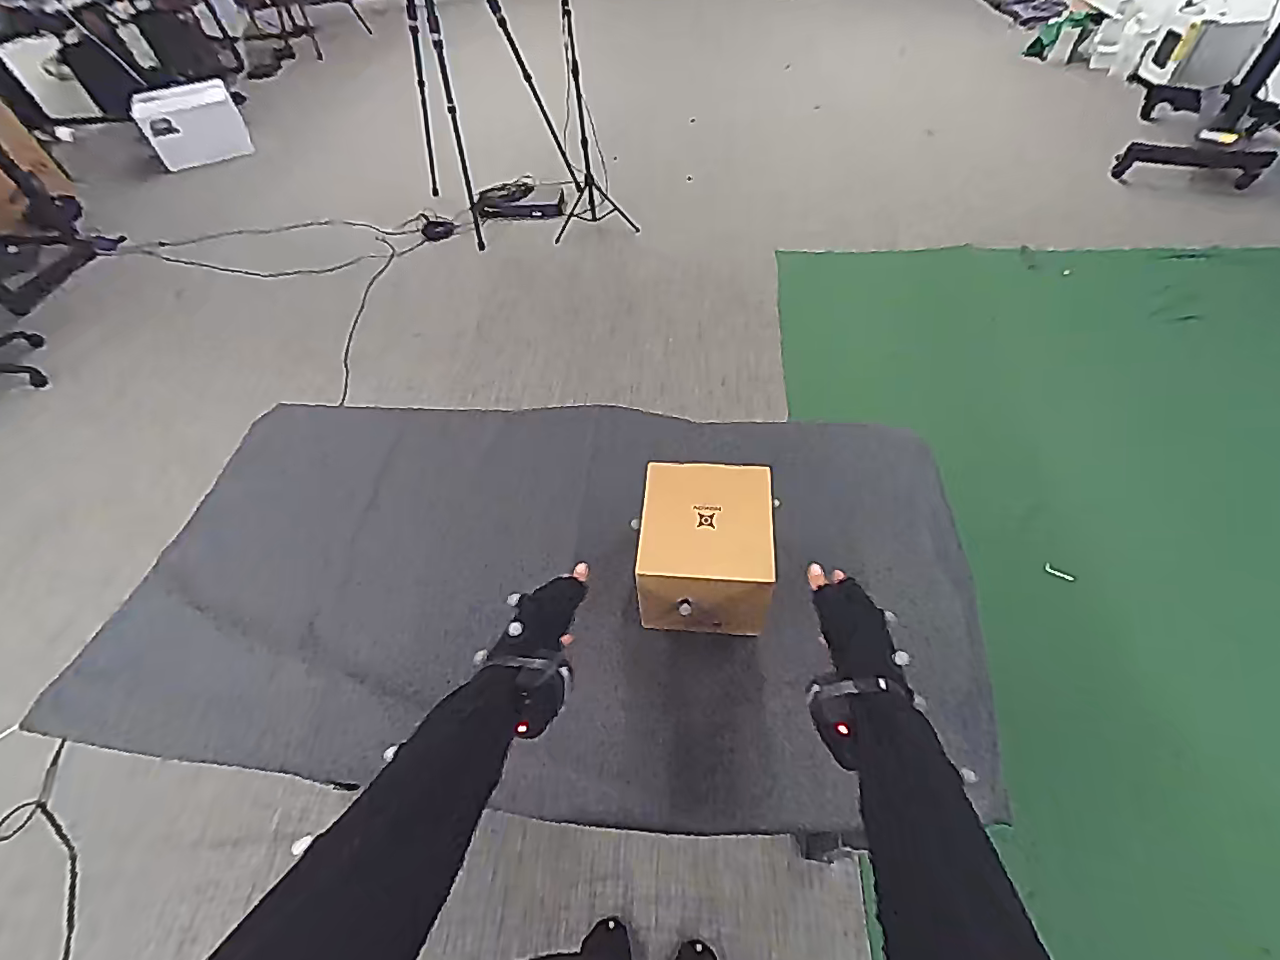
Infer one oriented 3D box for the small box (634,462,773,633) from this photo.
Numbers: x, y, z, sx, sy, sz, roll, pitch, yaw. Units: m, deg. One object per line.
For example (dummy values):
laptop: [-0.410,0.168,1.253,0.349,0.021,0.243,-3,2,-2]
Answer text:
small box: [0.089,0.096,0.742,0.168,0.176,0.179,2,52,7]
